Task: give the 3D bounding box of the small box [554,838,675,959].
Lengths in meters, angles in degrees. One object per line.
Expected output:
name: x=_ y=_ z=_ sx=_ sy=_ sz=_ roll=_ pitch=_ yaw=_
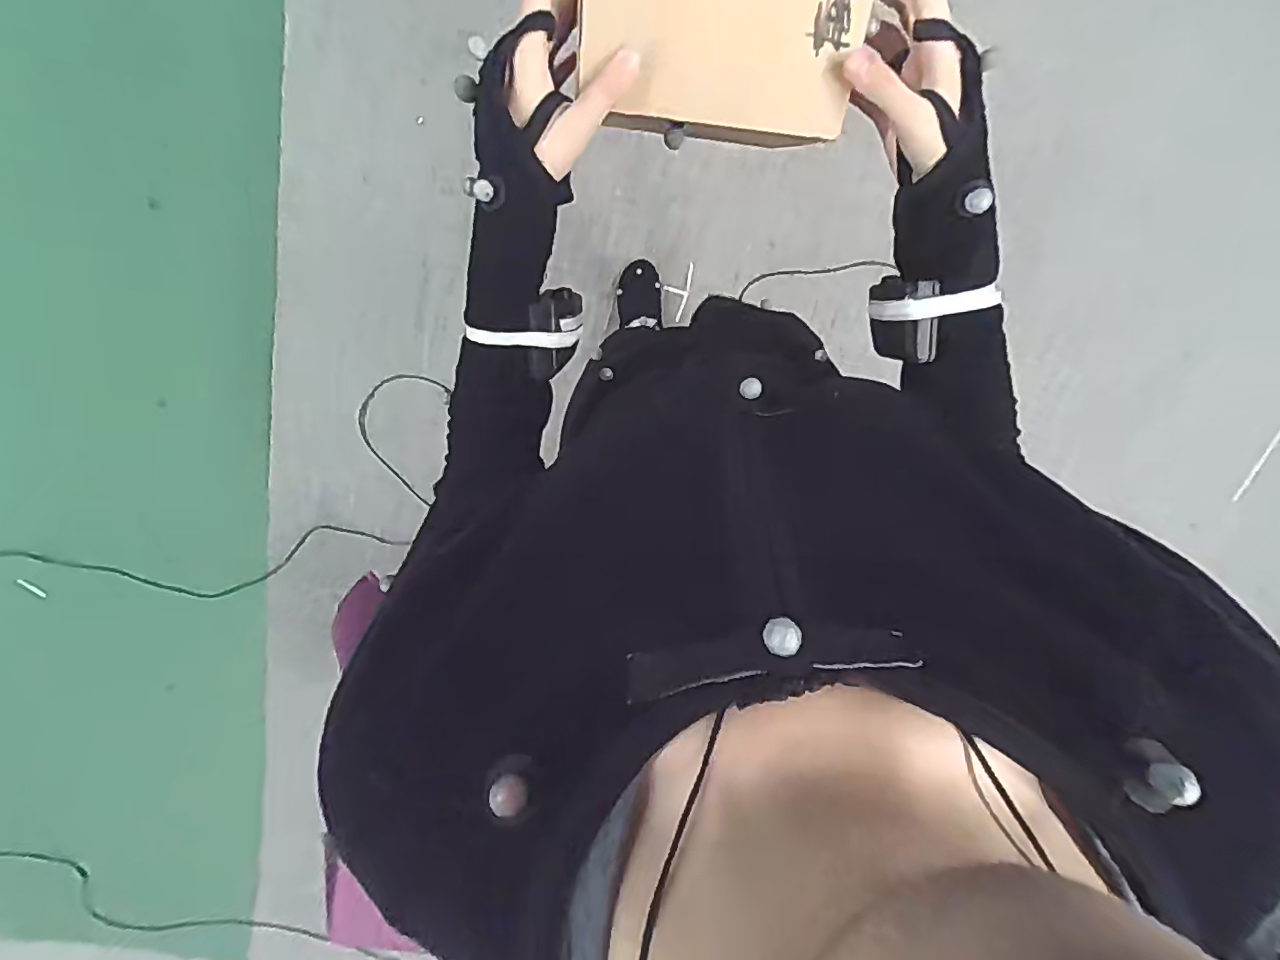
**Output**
small box: x=-0.050 y=0.788 z=0.975 sx=0.179 sy=0.176 sz=0.168 roll=16 pitch=110 yaw=-7
